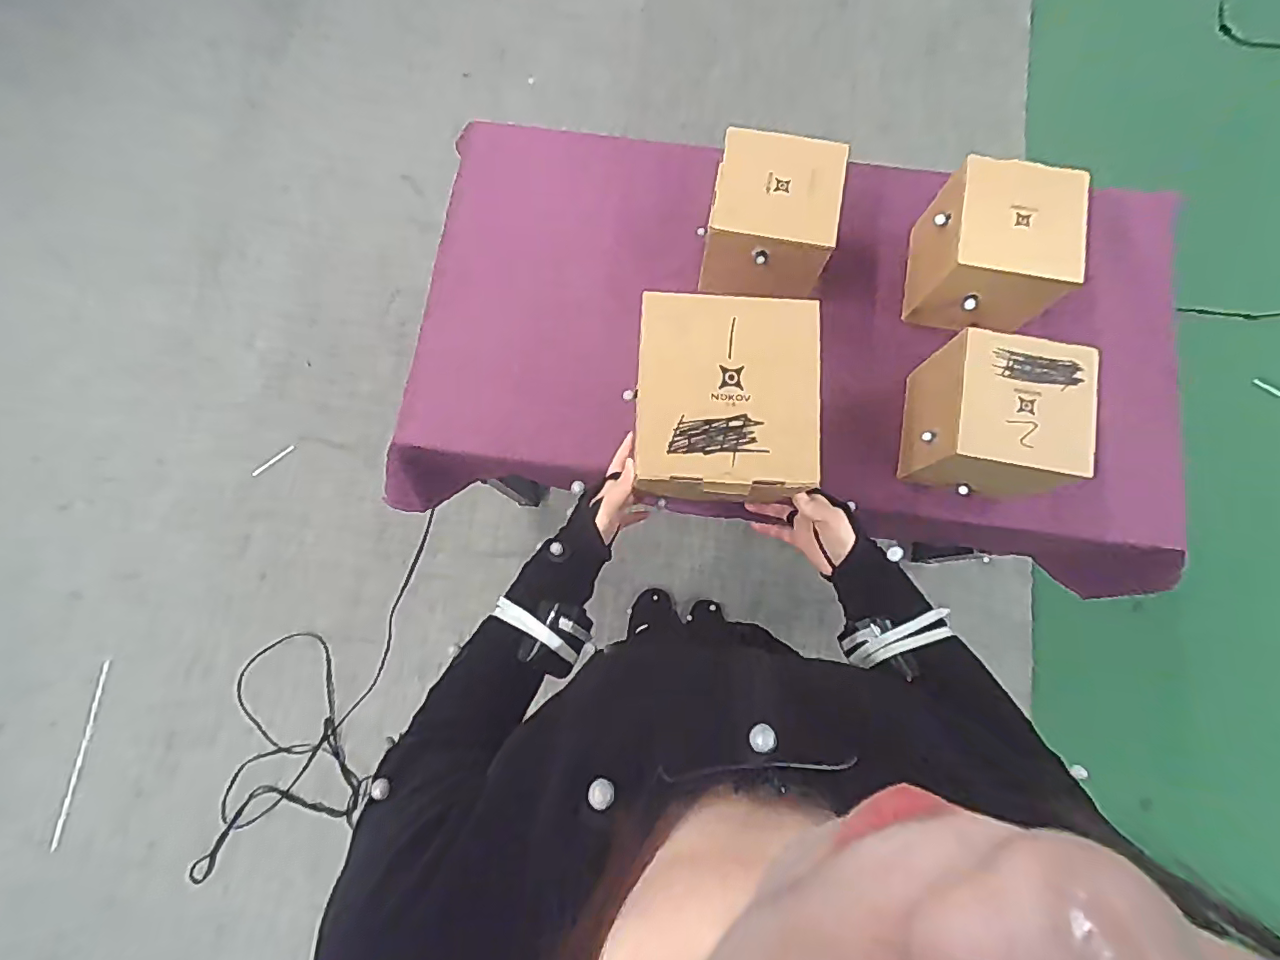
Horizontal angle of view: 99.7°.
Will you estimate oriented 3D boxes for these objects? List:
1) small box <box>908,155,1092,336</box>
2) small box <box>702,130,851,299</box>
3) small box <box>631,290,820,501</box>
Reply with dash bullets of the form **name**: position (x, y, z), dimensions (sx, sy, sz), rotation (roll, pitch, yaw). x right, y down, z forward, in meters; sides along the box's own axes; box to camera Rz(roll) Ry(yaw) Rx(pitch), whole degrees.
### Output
- **small box**: position (0.520, -0.335, 0.803), dimensions (0.168, 0.176, 0.179), rotation (11, 79, 5)
- **small box**: position (0.196, -0.387, 0.825), dimensions (0.179, 0.176, 0.168), rotation (11, 80, 3)
- **small box**: position (0.078, -0.073, 0.563), dimensions (0.168, 0.176, 0.179), rotation (3, 81, -1)
